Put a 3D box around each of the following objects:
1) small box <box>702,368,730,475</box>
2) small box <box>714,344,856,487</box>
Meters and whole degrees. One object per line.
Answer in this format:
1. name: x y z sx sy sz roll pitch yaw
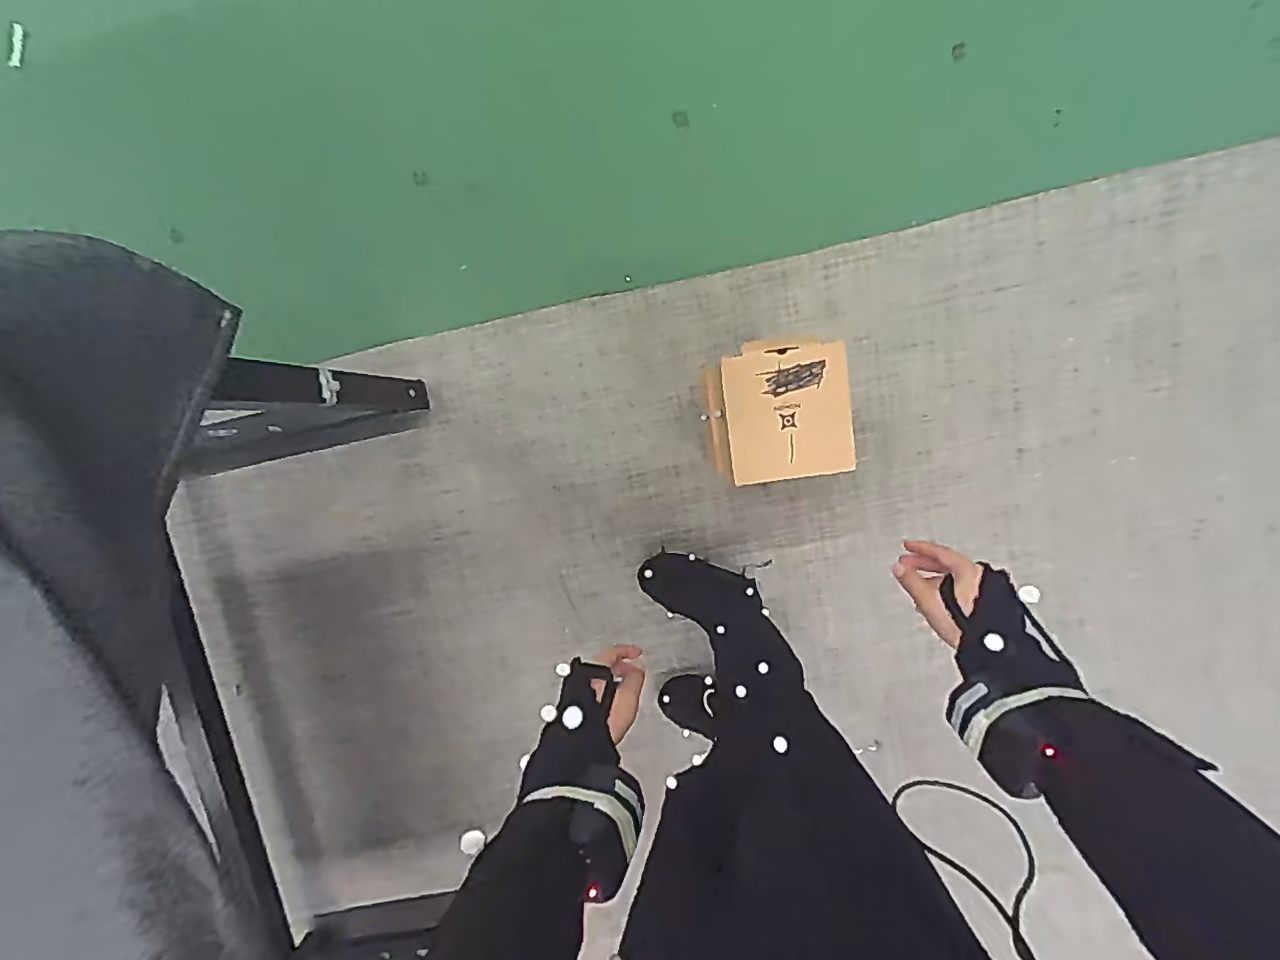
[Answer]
1. small box: 0.205 -0.112 0.963 0.168 0.176 0.179 -7 97 4
2. small box: 0.204 -0.093 0.799 0.168 0.176 0.179 -7 97 5
